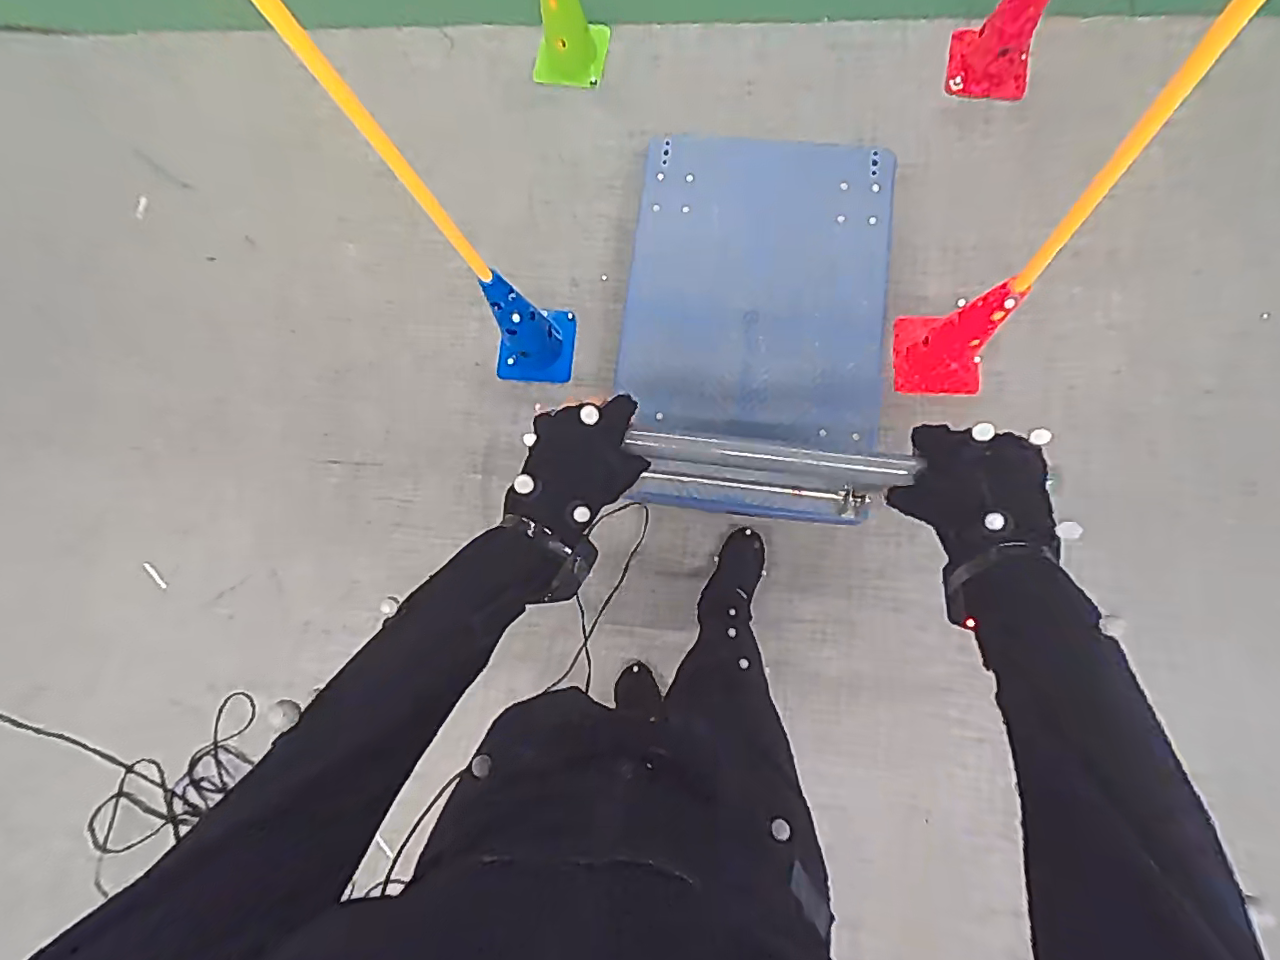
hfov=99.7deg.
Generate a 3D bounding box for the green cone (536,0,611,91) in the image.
[{"bbox_3d":[-0.210,-1.245,1.393,0.202,0.368,0.200,9,82,7],"label":"green cone"}]

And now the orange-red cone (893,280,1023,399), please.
[{"bbox_3d":[0.711,-0.325,1.174,0.199,0.360,0.198,4,81,8],"label":"orange-red cone"}]
